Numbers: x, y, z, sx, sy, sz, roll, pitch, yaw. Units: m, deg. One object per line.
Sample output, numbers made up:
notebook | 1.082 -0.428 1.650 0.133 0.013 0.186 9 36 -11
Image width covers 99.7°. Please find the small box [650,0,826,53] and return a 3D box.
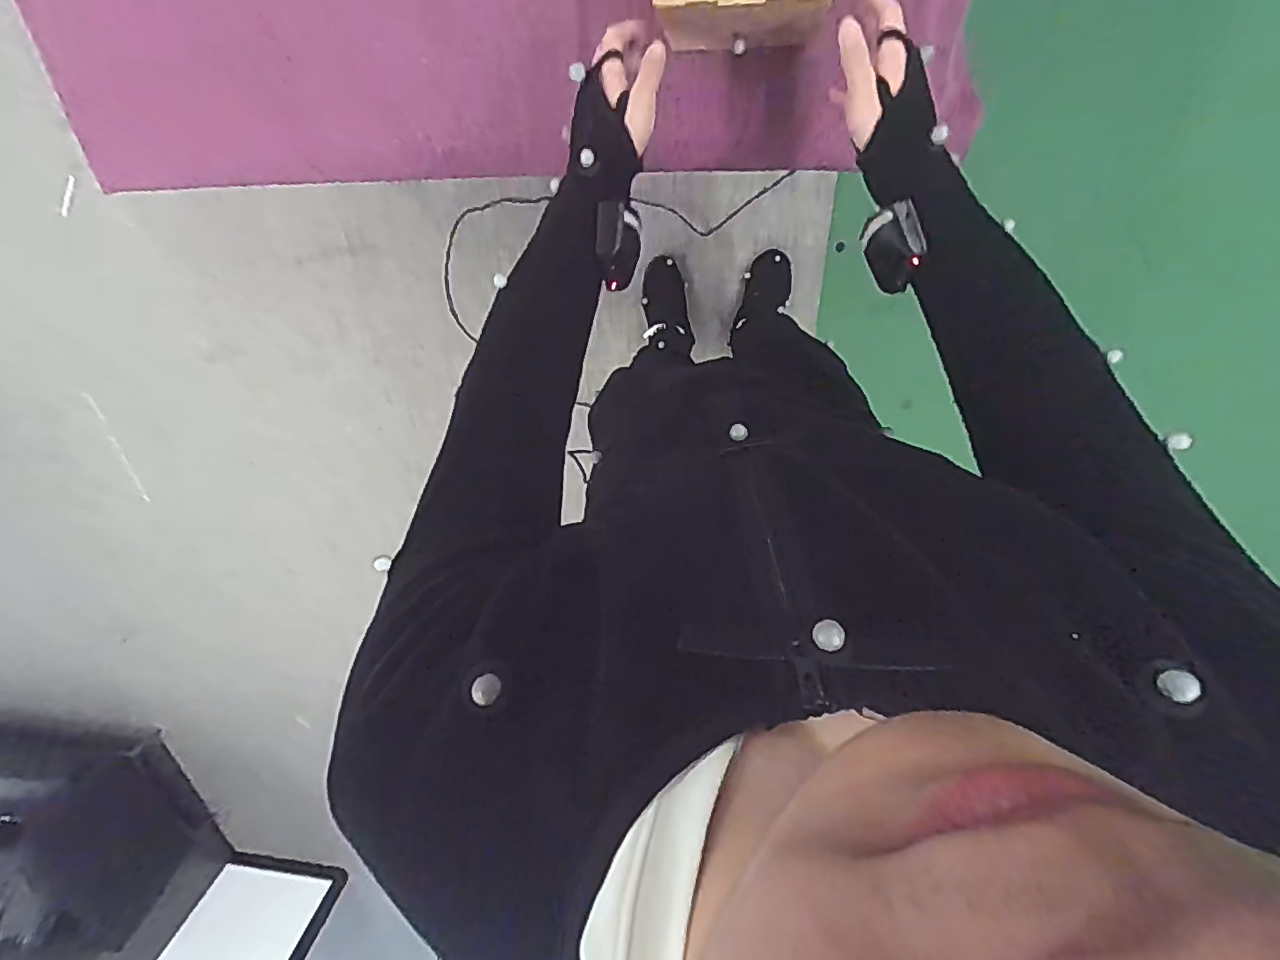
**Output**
small box | 0.102 -0.550 0.530 0.168 0.176 0.179 5 117 9
